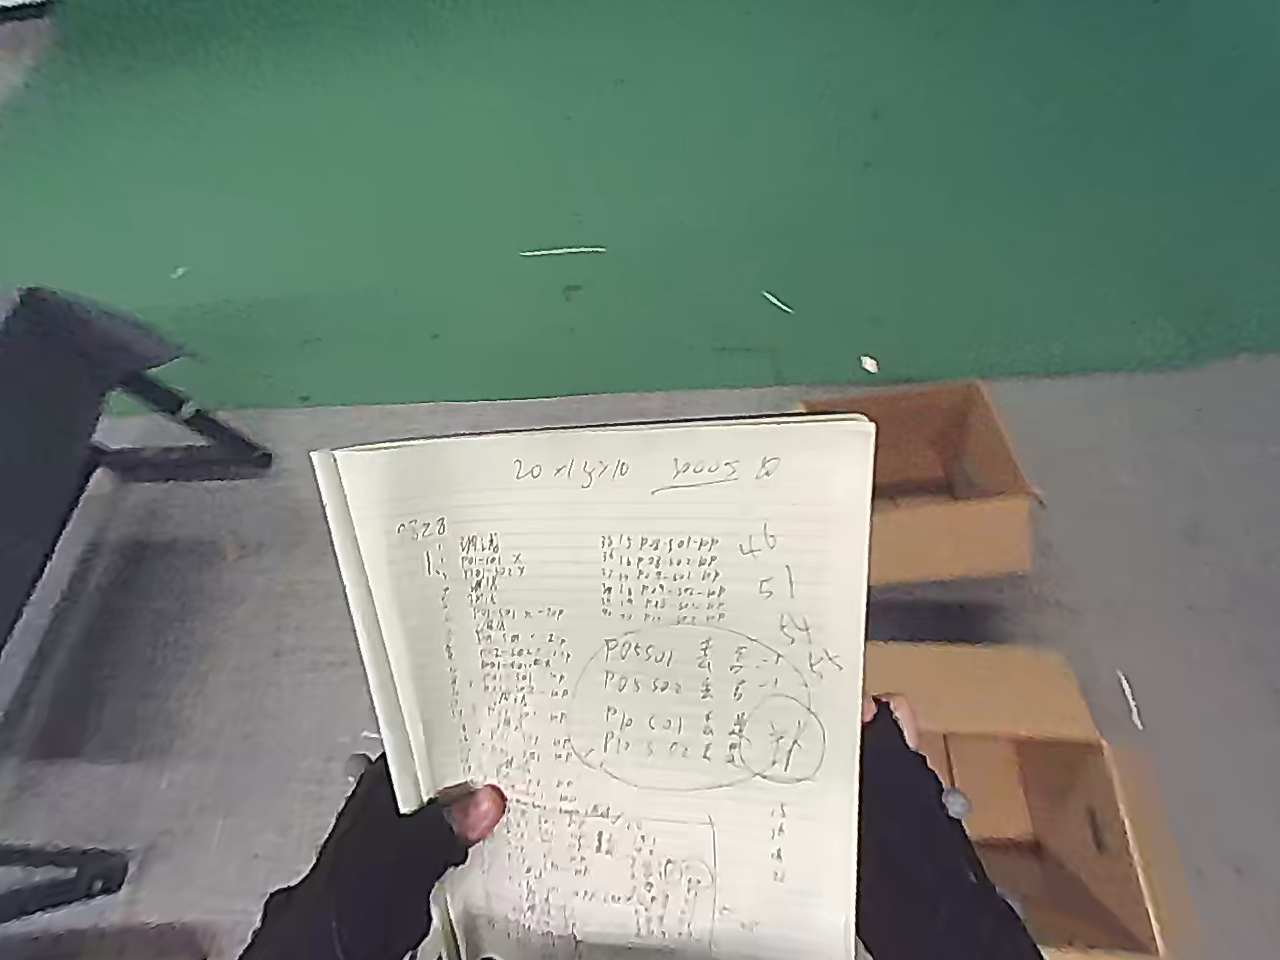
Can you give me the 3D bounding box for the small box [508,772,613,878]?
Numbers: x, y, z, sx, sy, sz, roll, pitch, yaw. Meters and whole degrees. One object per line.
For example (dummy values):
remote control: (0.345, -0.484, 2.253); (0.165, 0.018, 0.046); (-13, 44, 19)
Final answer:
small box: (-0.173, 0.738, 1.168); (0.179, 0.176, 0.168); (-11, 67, 17)
